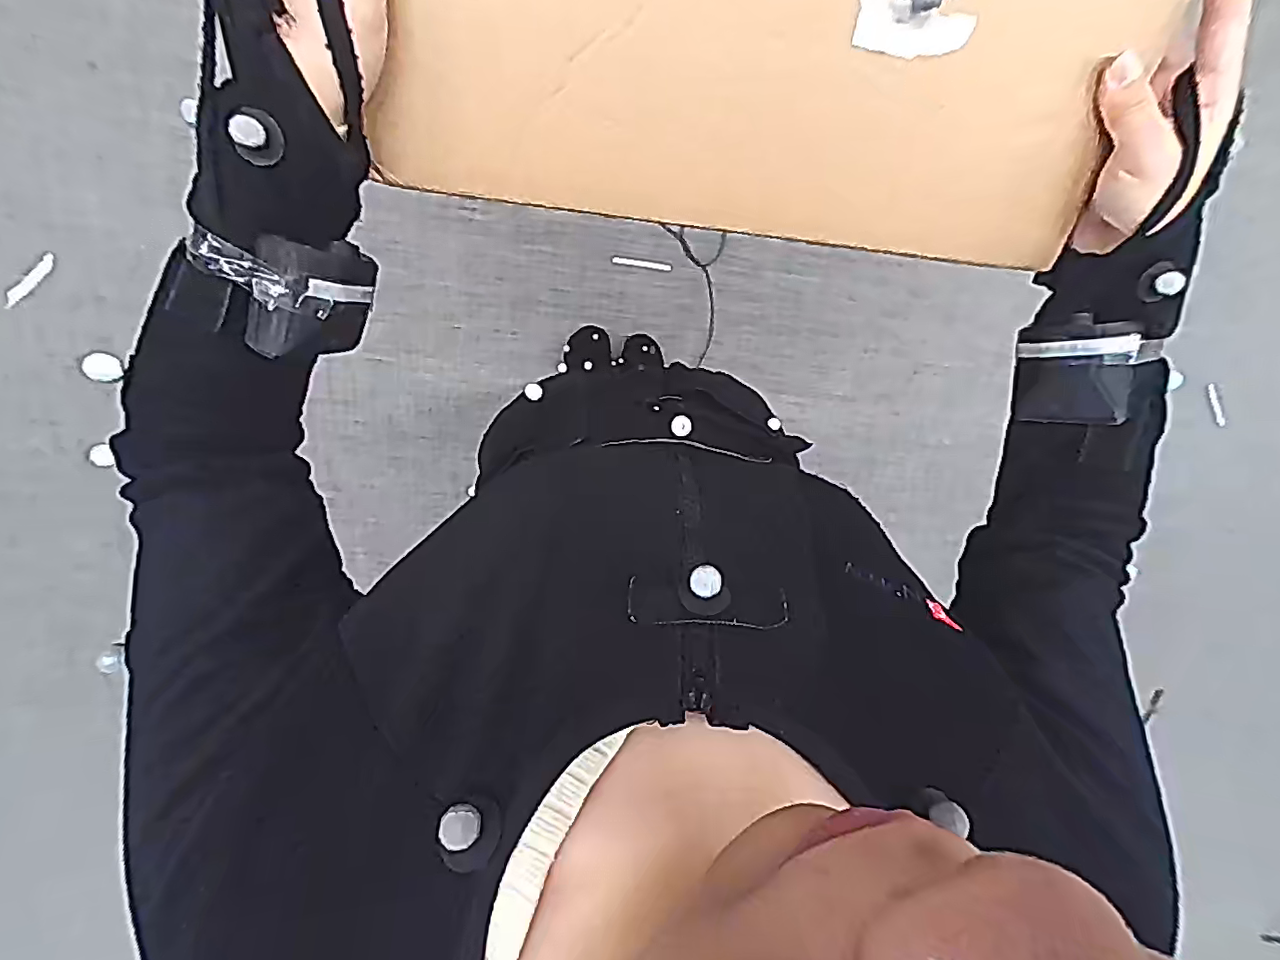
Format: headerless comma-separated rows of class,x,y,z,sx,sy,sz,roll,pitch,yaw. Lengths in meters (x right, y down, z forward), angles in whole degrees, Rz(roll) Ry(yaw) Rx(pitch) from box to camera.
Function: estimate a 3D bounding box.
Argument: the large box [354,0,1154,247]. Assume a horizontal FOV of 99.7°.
large box,0.057,-0.365,0.359,0.408,0.320,0.320,4,124,-8
